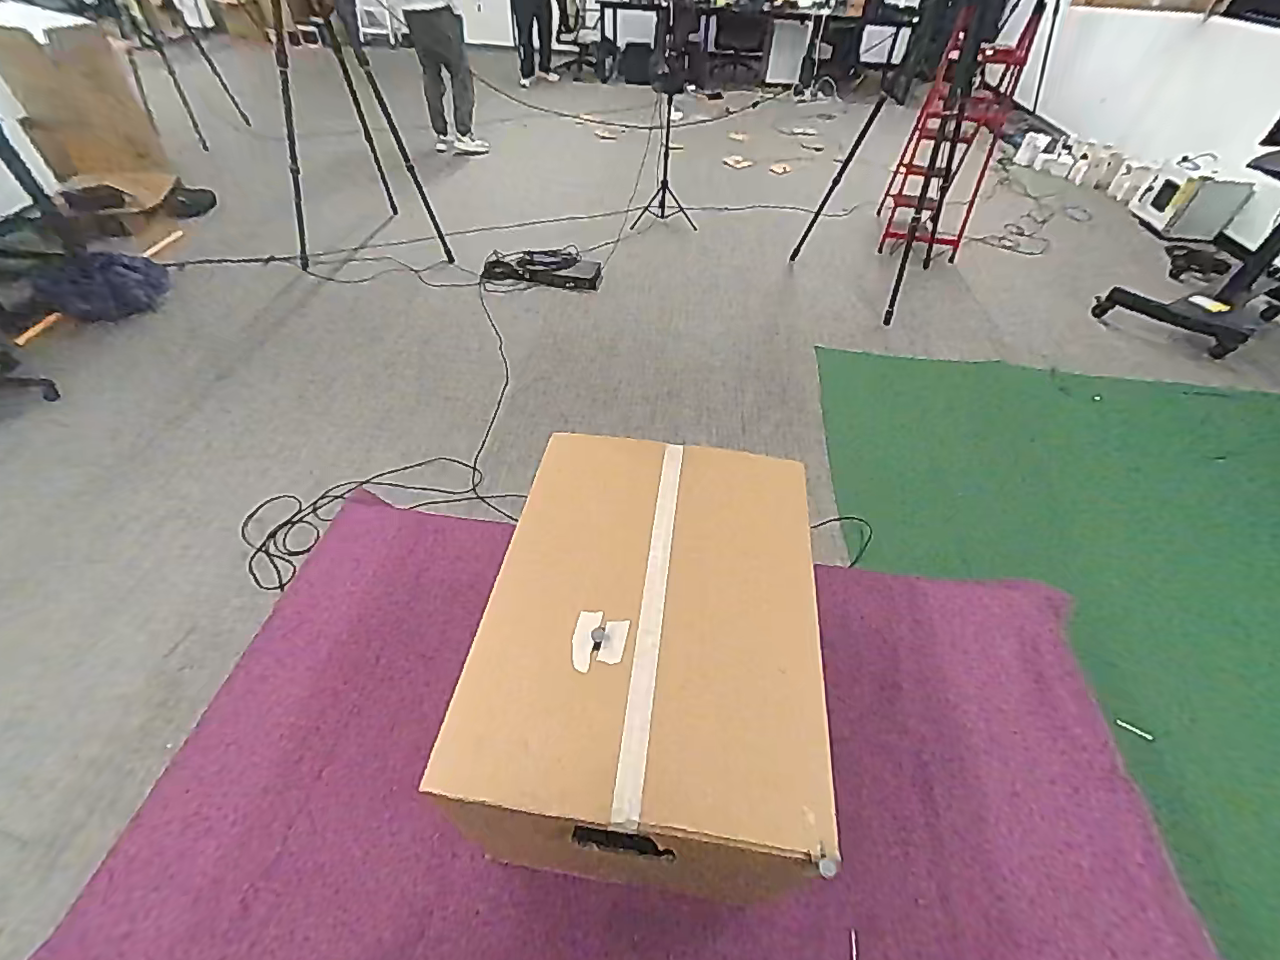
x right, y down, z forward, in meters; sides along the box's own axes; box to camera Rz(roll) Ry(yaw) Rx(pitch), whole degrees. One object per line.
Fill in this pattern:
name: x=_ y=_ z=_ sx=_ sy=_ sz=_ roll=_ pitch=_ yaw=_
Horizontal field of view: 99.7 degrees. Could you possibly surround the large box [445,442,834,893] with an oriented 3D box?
large box: x=0.013 y=0.215 z=0.655 sx=0.320 sy=0.320 sz=0.408 roll=7 pitch=48 yaw=4
